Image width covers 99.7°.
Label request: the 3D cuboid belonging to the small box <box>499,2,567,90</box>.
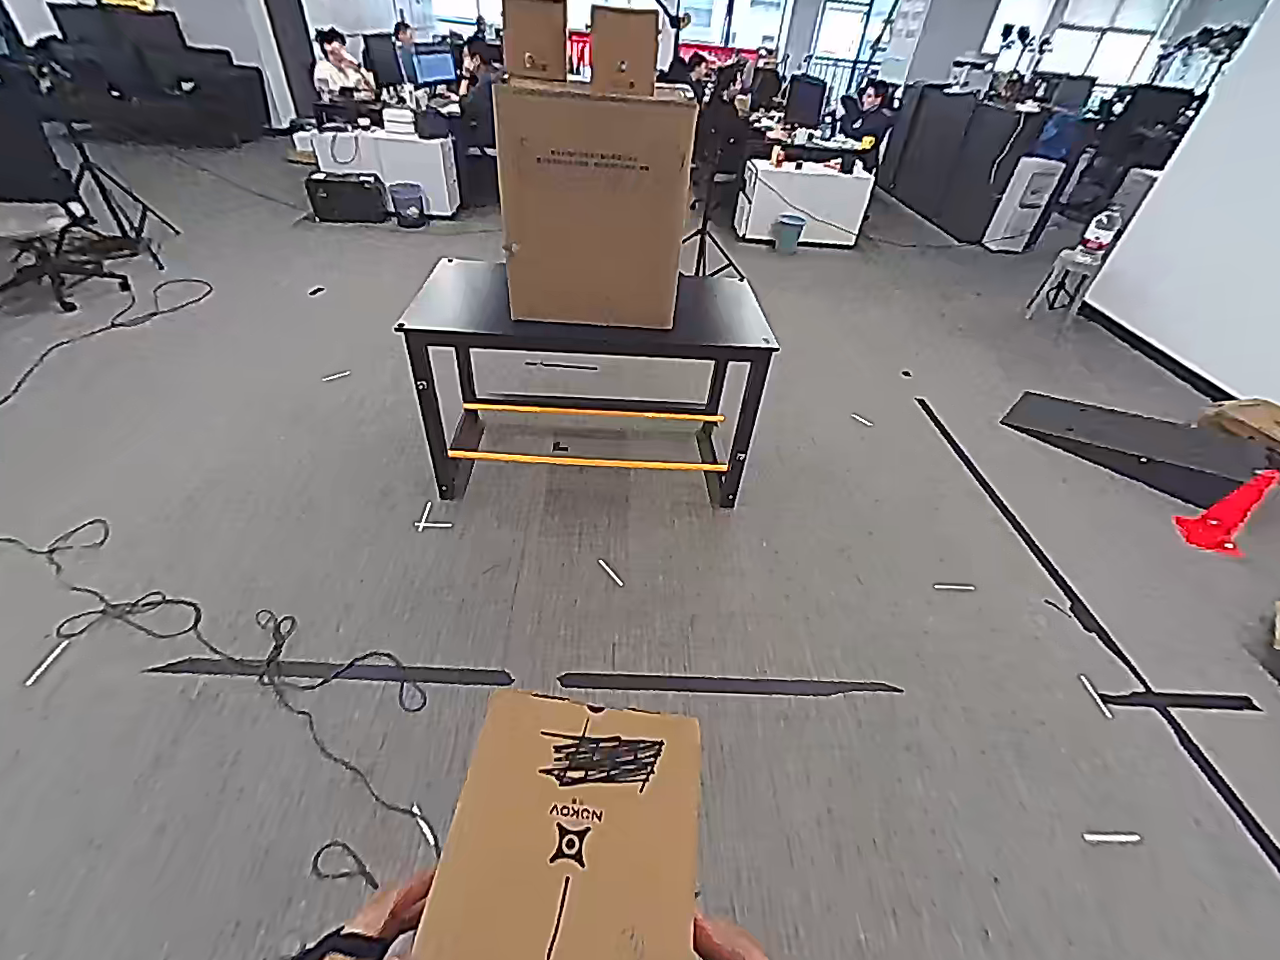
[{"bbox_3d":[-0.287,-1.184,1.475,0.168,0.176,0.179,-1,41,-7],"label":"small box"}]

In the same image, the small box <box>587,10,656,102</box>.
[{"bbox_3d":[-0.051,-1.091,1.391,0.168,0.176,0.179,0,42,-4],"label":"small box"}]

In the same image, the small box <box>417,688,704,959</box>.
[{"bbox_3d":[-0.046,0.292,0.420,0.168,0.176,0.179,7,43,2],"label":"small box"}]

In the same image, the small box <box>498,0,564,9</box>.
[{"bbox_3d":[-0.276,-1.299,1.358,0.168,0.176,0.179,1,41,-6],"label":"small box"}]
